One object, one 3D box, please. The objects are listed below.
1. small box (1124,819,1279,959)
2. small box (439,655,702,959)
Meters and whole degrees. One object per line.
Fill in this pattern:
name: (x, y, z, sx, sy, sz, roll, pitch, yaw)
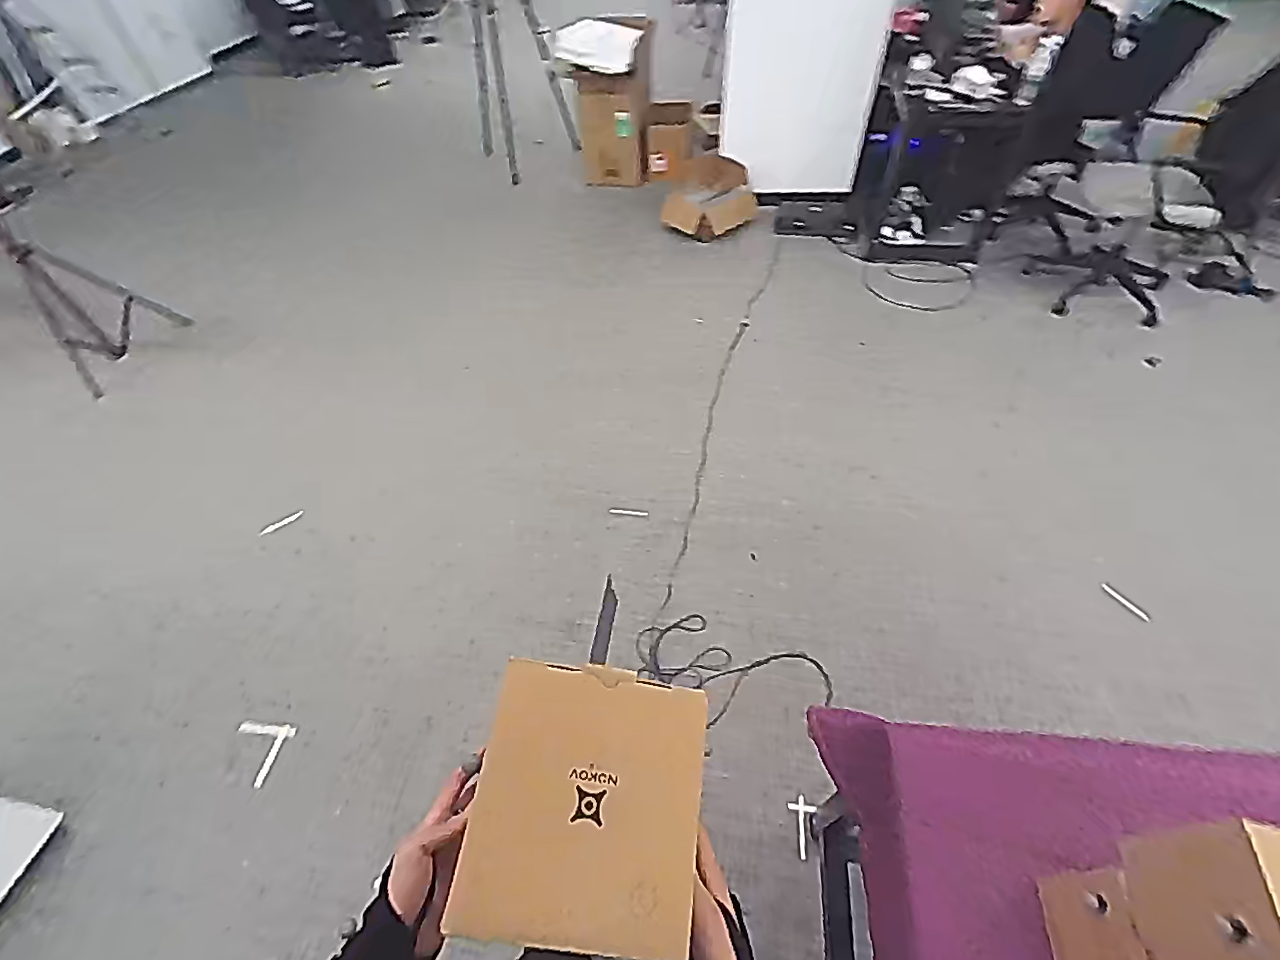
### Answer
small box: (0.565, 0.422, 0.456, 0.168, 0.176, 0.179, 11, 52, 13)
small box: (-0.053, 0.269, 0.466, 0.168, 0.176, 0.179, 12, 60, -5)
